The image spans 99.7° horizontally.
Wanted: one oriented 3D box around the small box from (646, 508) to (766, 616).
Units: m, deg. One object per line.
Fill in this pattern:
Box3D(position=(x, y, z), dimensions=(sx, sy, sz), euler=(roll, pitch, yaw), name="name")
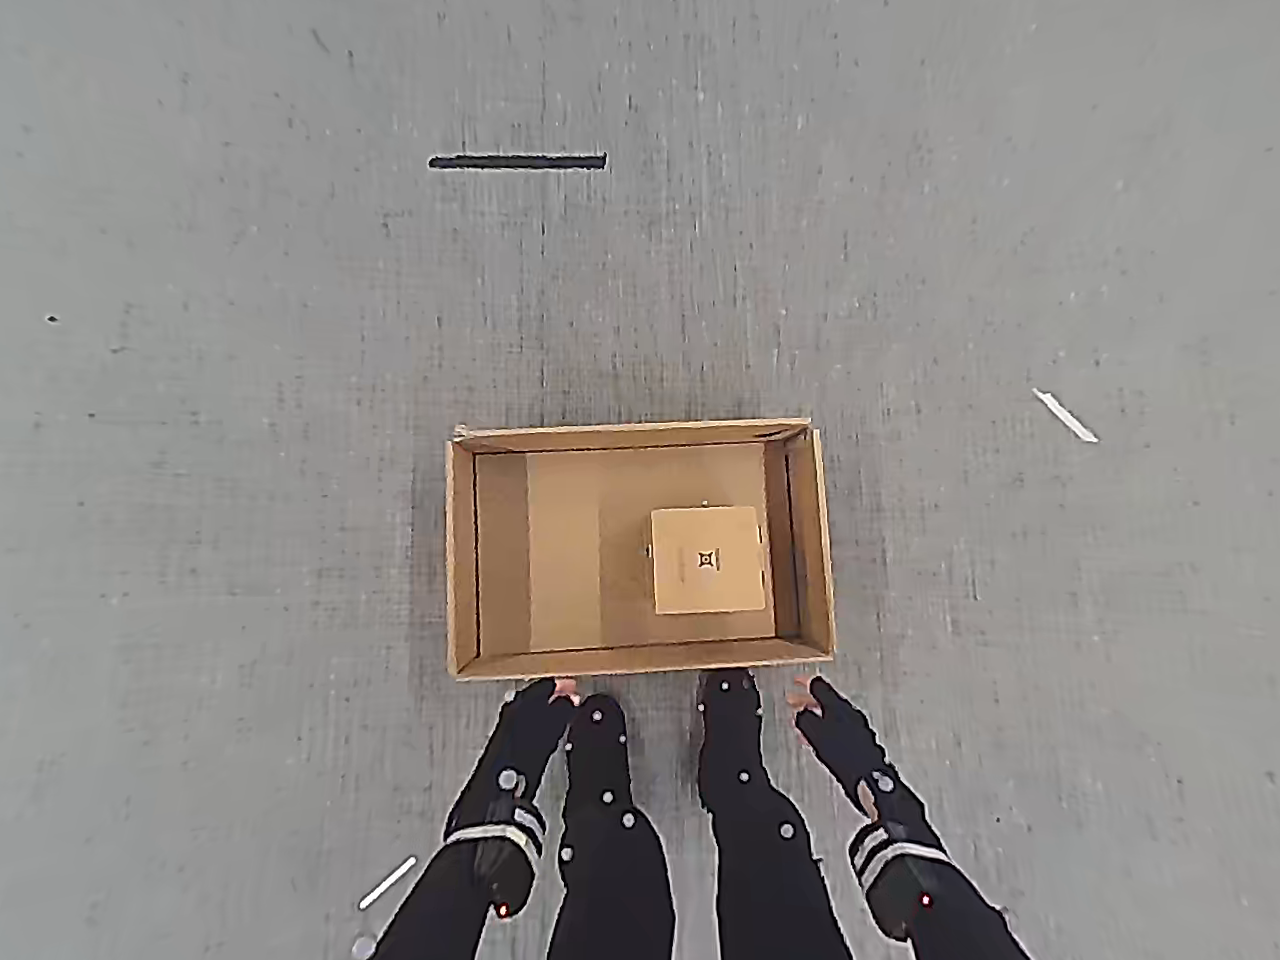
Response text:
Box3D(position=(0.104, 0.136, 0.925), dimensions=(0.179, 0.176, 0.168), euler=(-3, 83, -1), name="small box")
